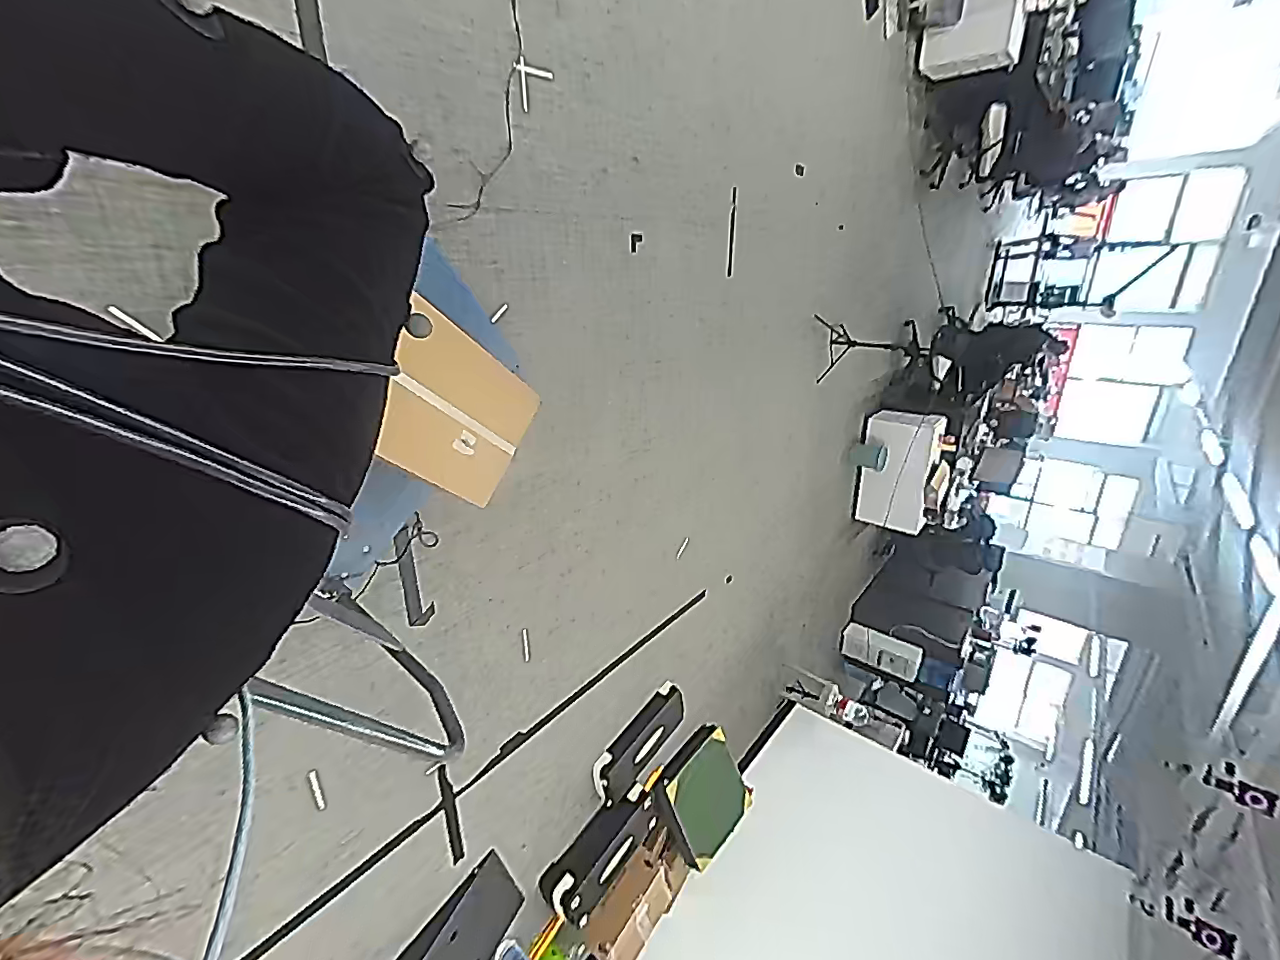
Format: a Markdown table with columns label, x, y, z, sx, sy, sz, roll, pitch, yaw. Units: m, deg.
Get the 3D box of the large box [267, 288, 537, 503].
| label | x | y | z | sx | sy | sz | roll | pitch | yaw |
| --- | --- | --- | --- | --- | --- | --- | --- | --- | --- |
| large box | -0.527 | -0.189 | 1.240 | 0.408 | 0.320 | 0.320 | 40 | 72 | -51 |
